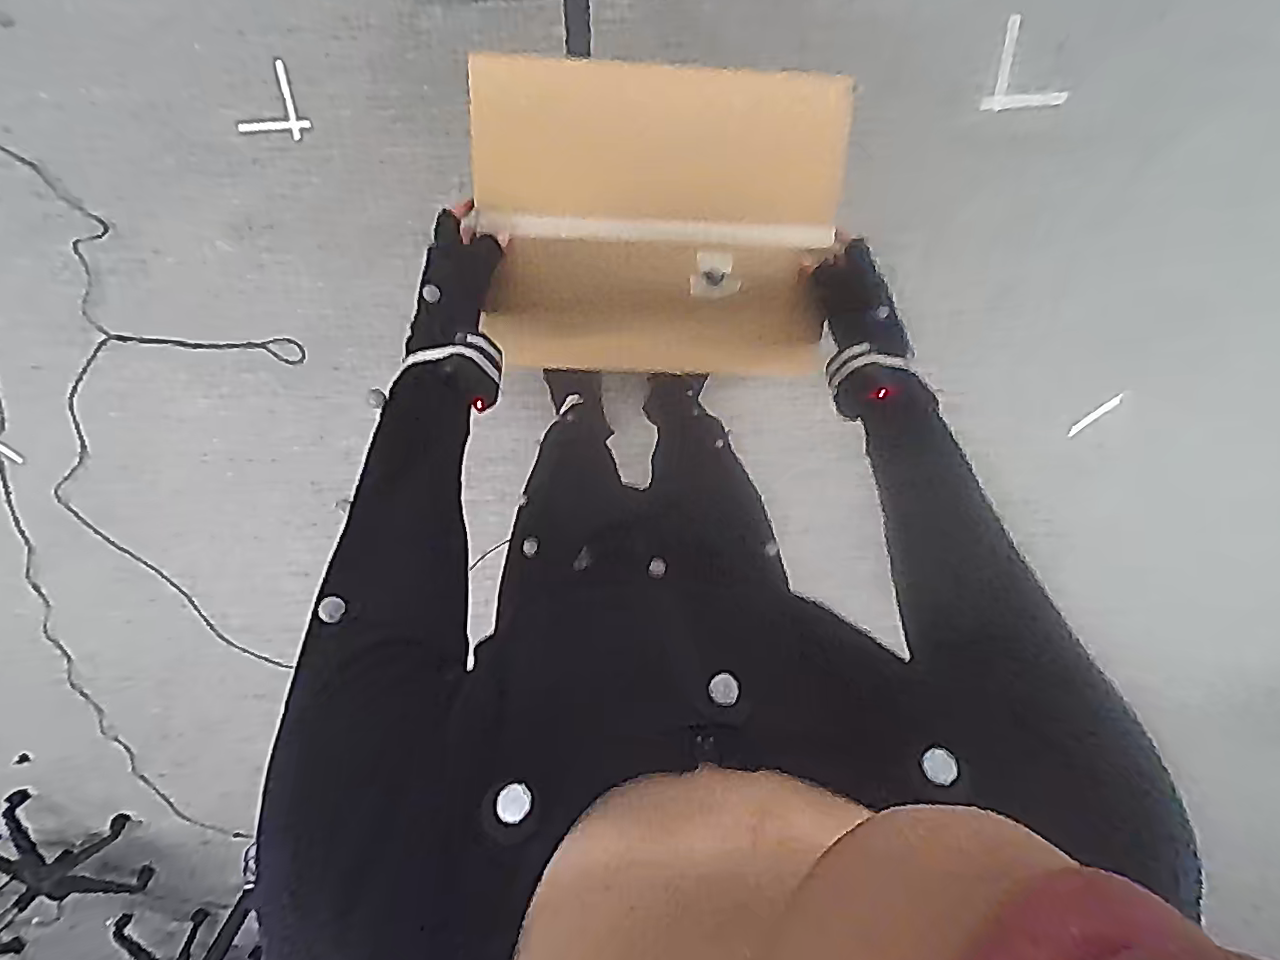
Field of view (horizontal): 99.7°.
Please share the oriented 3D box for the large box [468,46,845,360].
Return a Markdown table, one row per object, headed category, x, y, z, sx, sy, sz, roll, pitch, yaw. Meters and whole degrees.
| category | x | y | z | sx | sy | sz | roll | pitch | yaw |
| --- | --- | --- | --- | --- | --- | --- | --- | --- | --- |
| large box | 0.009 | -0.340 | 0.748 | 0.408 | 0.320 | 0.320 | 1 | 108 | -4 |
